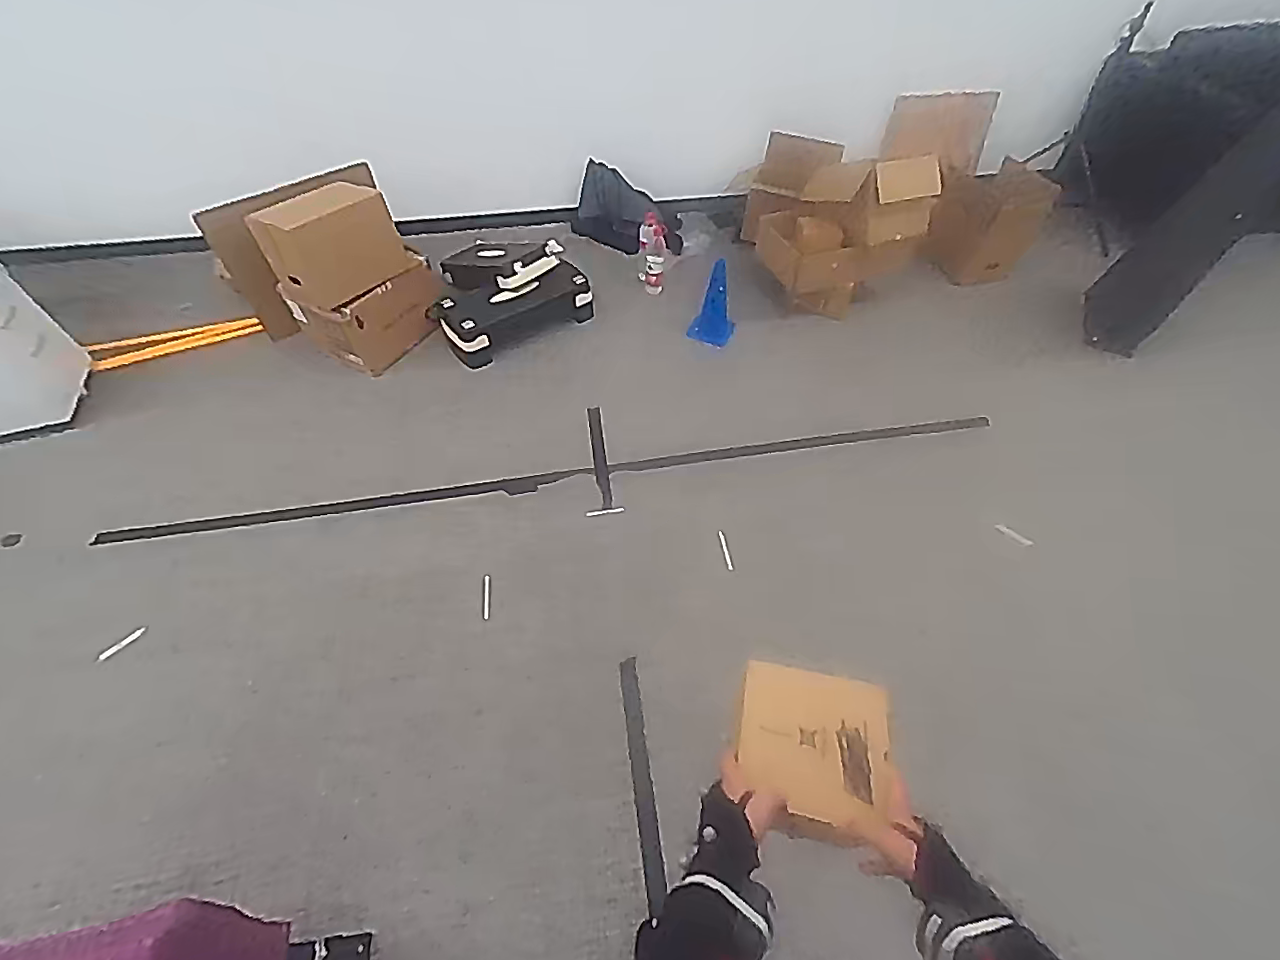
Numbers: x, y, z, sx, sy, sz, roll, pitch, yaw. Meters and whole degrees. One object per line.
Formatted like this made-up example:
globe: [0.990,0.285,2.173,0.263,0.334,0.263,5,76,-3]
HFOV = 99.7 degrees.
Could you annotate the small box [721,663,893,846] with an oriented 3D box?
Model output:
small box: [0.210,0.363,0.708,0.179,0.176,0.168,9,53,9]
